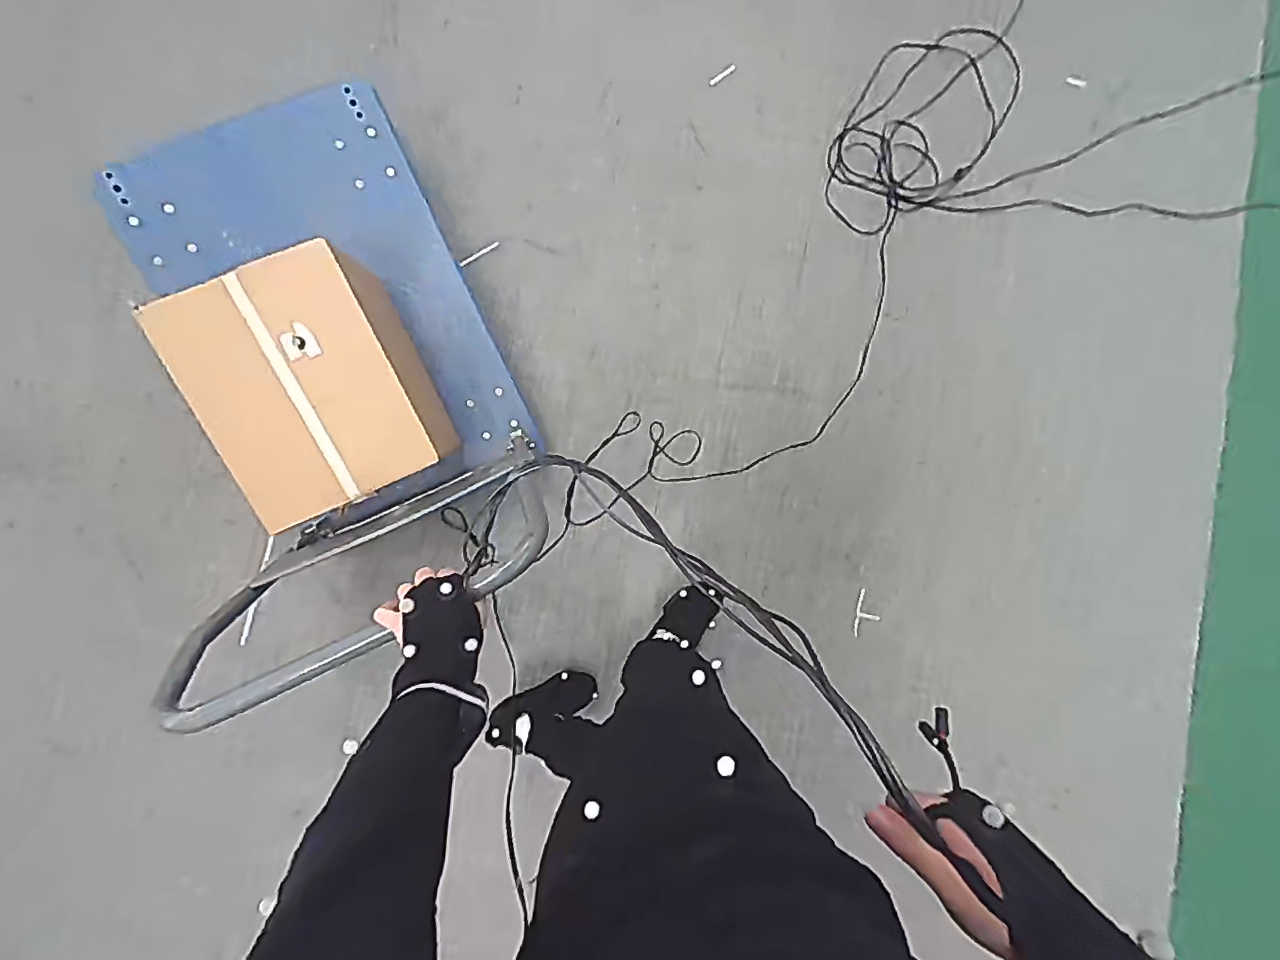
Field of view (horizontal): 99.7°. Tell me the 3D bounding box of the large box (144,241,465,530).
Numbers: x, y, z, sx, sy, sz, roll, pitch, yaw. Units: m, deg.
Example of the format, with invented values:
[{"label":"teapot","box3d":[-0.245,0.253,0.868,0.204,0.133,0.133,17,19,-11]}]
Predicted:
[{"label":"large box","box3d":[-0.589,-0.172,1.050,0.320,0.320,0.408,-26,102,-7]}]
